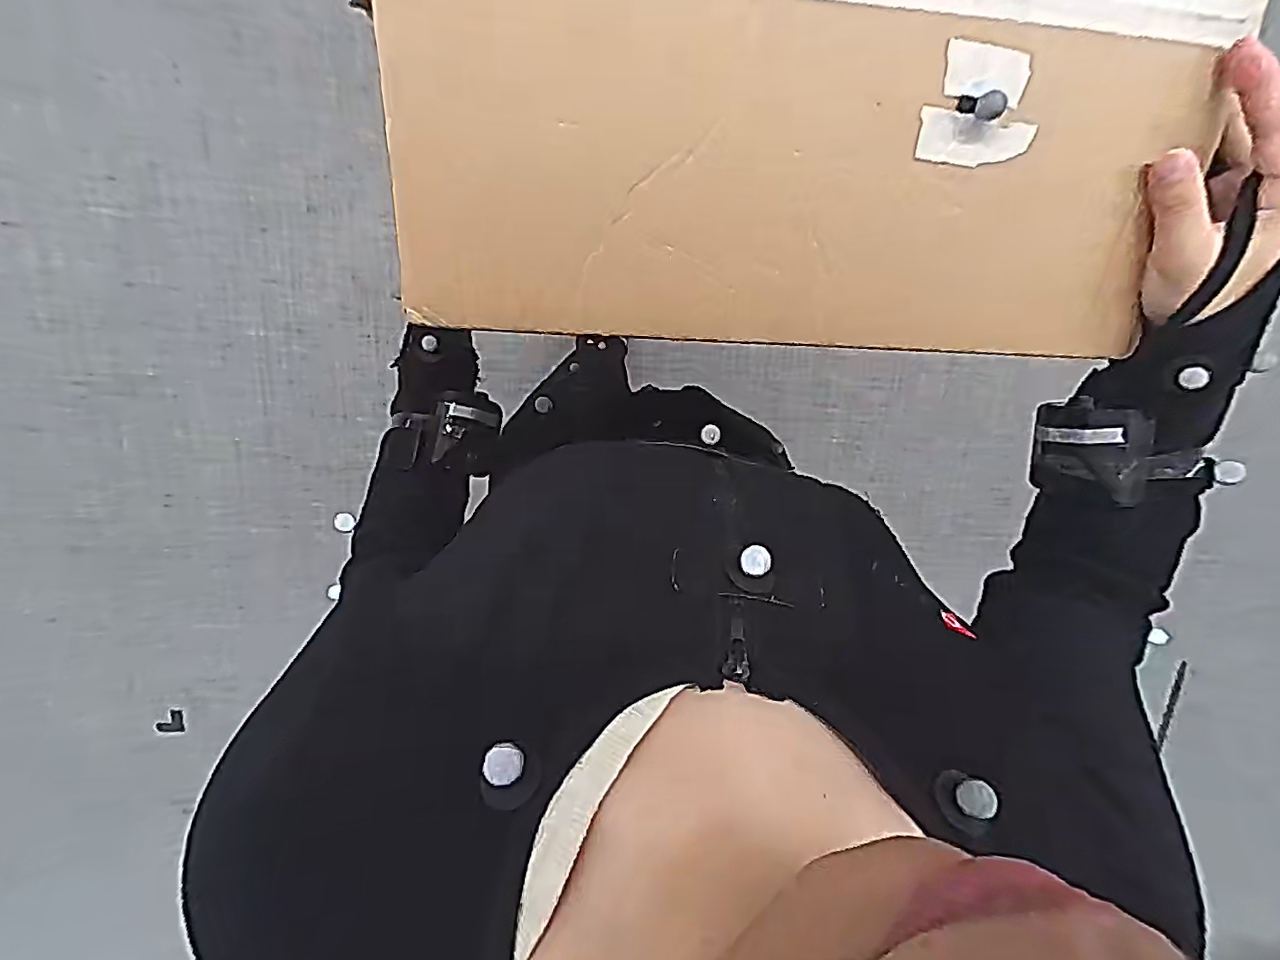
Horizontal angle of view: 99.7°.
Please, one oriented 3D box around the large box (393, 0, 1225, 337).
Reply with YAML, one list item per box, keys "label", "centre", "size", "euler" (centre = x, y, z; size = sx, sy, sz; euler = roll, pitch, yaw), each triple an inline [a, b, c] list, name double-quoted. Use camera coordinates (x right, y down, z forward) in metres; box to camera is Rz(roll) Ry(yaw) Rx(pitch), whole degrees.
- label: "large box"
  centre: [0.070, -0.280, 0.382]
  size: [0.408, 0.320, 0.320]
  euler: [0, 112, -9]
